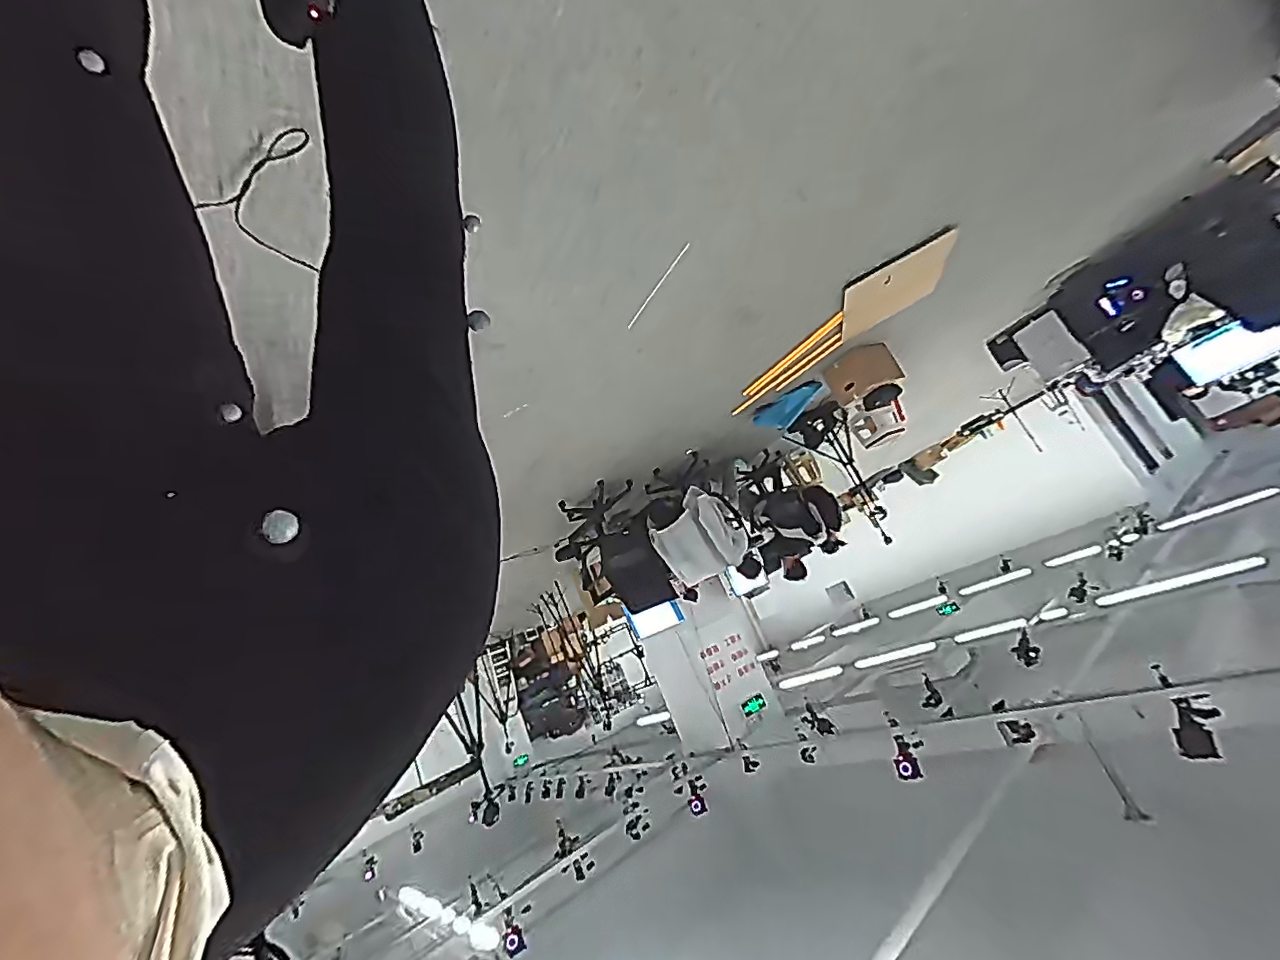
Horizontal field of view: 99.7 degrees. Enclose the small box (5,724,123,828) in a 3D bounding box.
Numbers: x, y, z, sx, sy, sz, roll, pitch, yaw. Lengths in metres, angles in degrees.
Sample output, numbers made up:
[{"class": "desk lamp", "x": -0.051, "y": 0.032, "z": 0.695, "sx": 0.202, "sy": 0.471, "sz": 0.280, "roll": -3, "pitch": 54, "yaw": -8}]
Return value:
[{"class": "small box", "x": -1.407, "y": 0.720, "z": 1.325, "sx": 0.168, "sy": 0.176, "sz": 0.179, "roll": -11, "pitch": 159, "yaw": -38}]
